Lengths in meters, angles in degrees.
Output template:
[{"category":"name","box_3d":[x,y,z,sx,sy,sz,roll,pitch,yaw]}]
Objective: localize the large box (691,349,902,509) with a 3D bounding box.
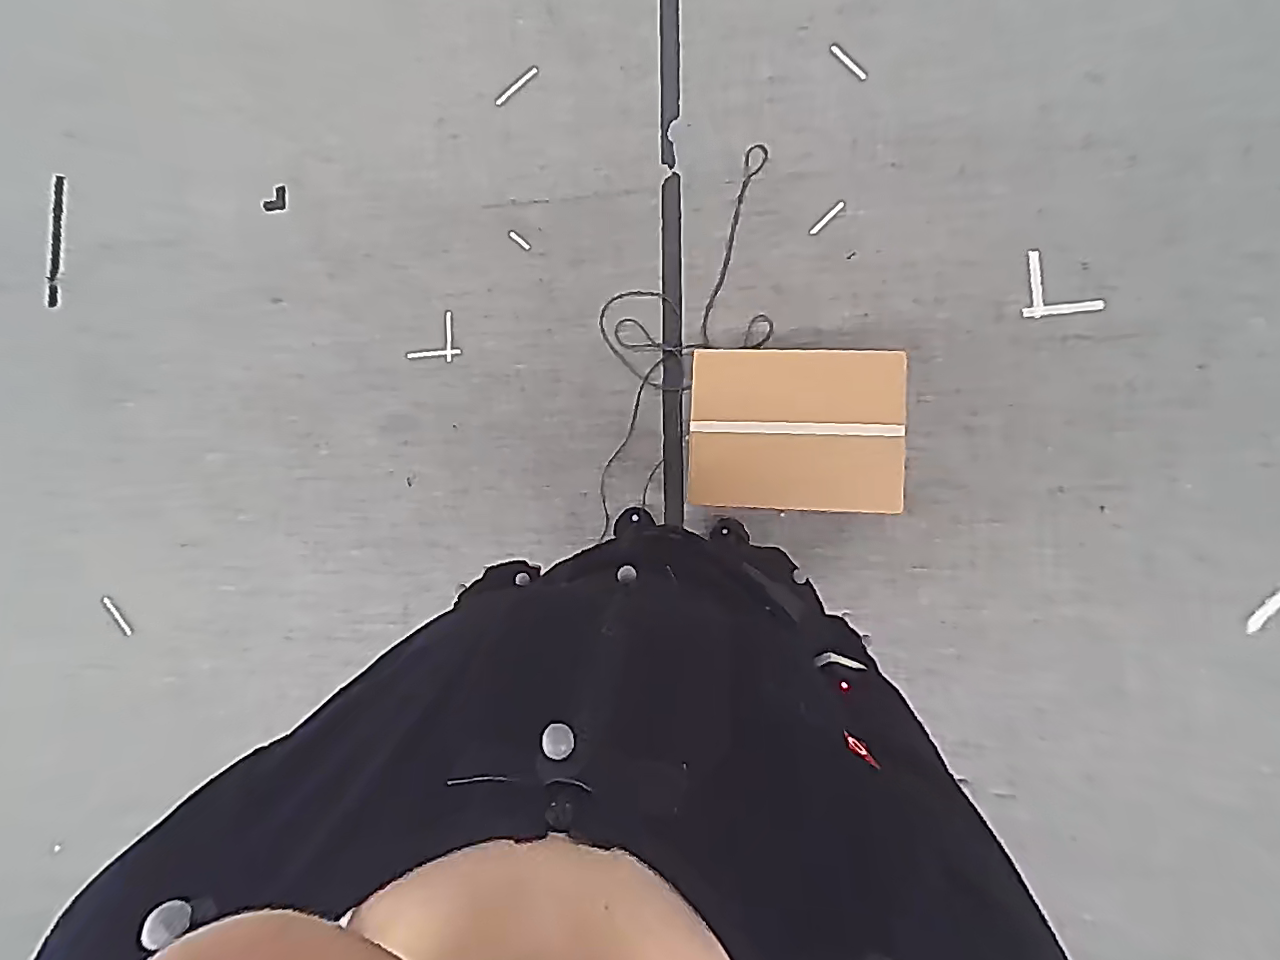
[{"category":"large box","box_3d":[0.319,-0.096,1.203,0.408,0.320,0.320,2,89,7]}]
